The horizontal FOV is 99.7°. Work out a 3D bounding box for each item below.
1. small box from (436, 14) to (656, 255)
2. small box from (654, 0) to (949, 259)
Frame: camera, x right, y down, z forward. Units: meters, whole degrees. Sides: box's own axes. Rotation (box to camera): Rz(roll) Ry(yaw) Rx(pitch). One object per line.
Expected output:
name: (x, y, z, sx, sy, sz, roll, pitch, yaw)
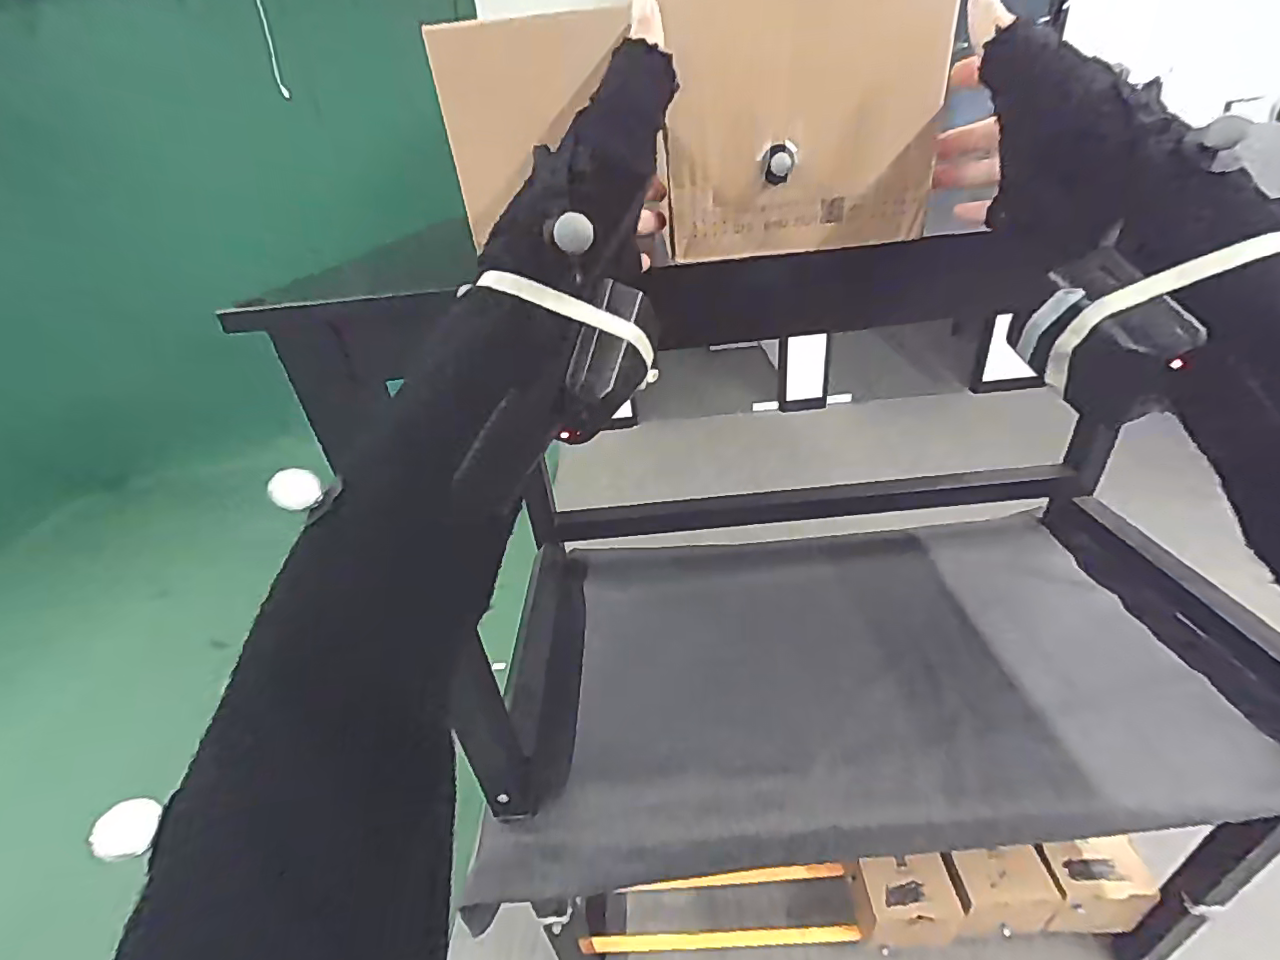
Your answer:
small box: (-0.078, -0.330, 0.537, 0.168, 0.176, 0.179, -8, 32, 0)
small box: (0.097, -0.267, 0.401, 0.168, 0.176, 0.179, -5, 31, 3)
